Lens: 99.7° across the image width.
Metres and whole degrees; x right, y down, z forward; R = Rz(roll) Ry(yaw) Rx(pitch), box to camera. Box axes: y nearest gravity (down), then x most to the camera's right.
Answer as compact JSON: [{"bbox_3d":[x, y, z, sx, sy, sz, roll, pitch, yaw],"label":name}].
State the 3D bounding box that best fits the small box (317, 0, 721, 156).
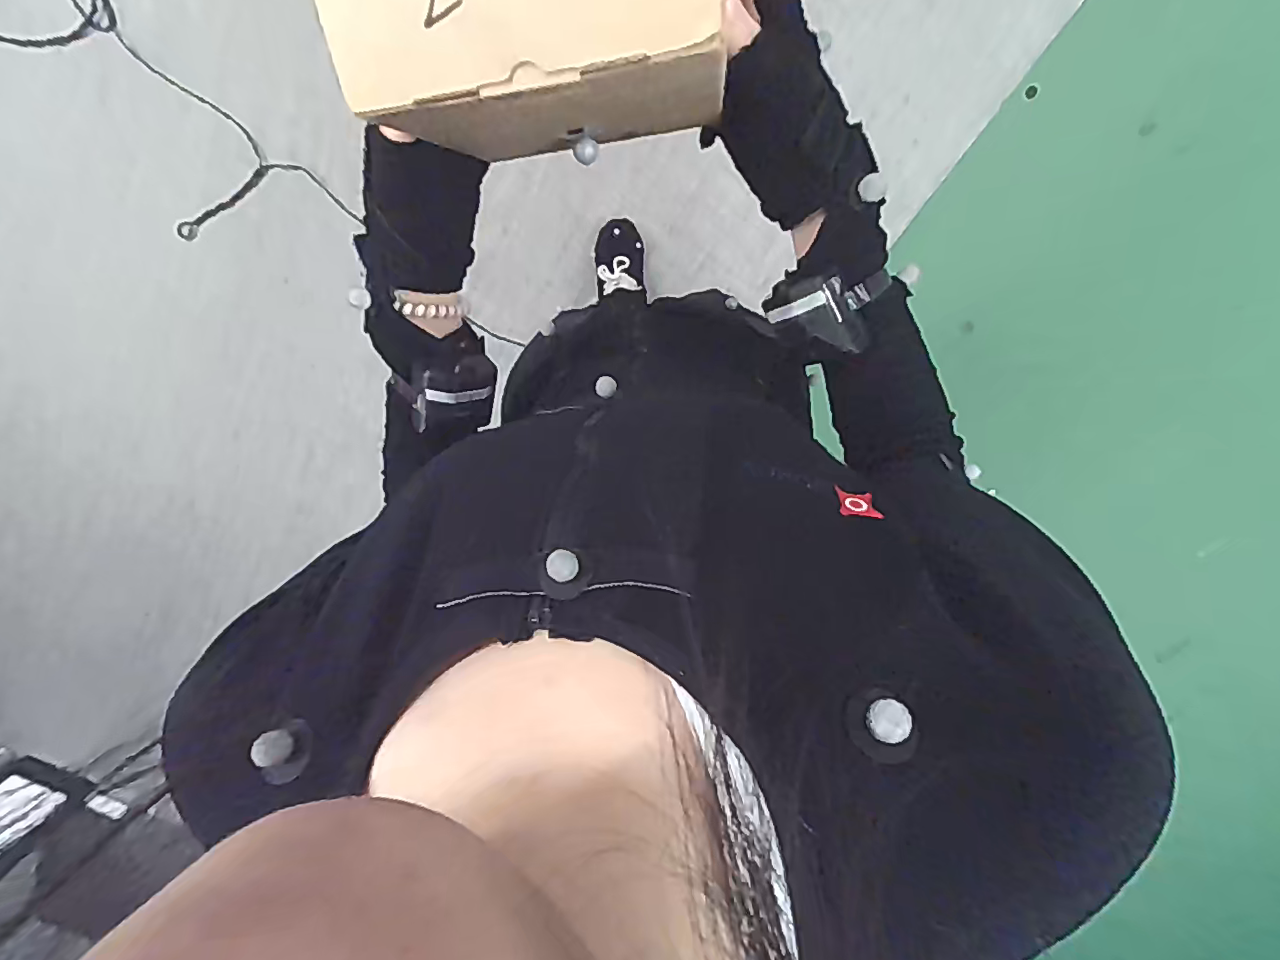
[{"bbox_3d":[-0.050,-0.280,0.266,0.168,0.176,0.179,-4,114,10],"label":"small box"}]
